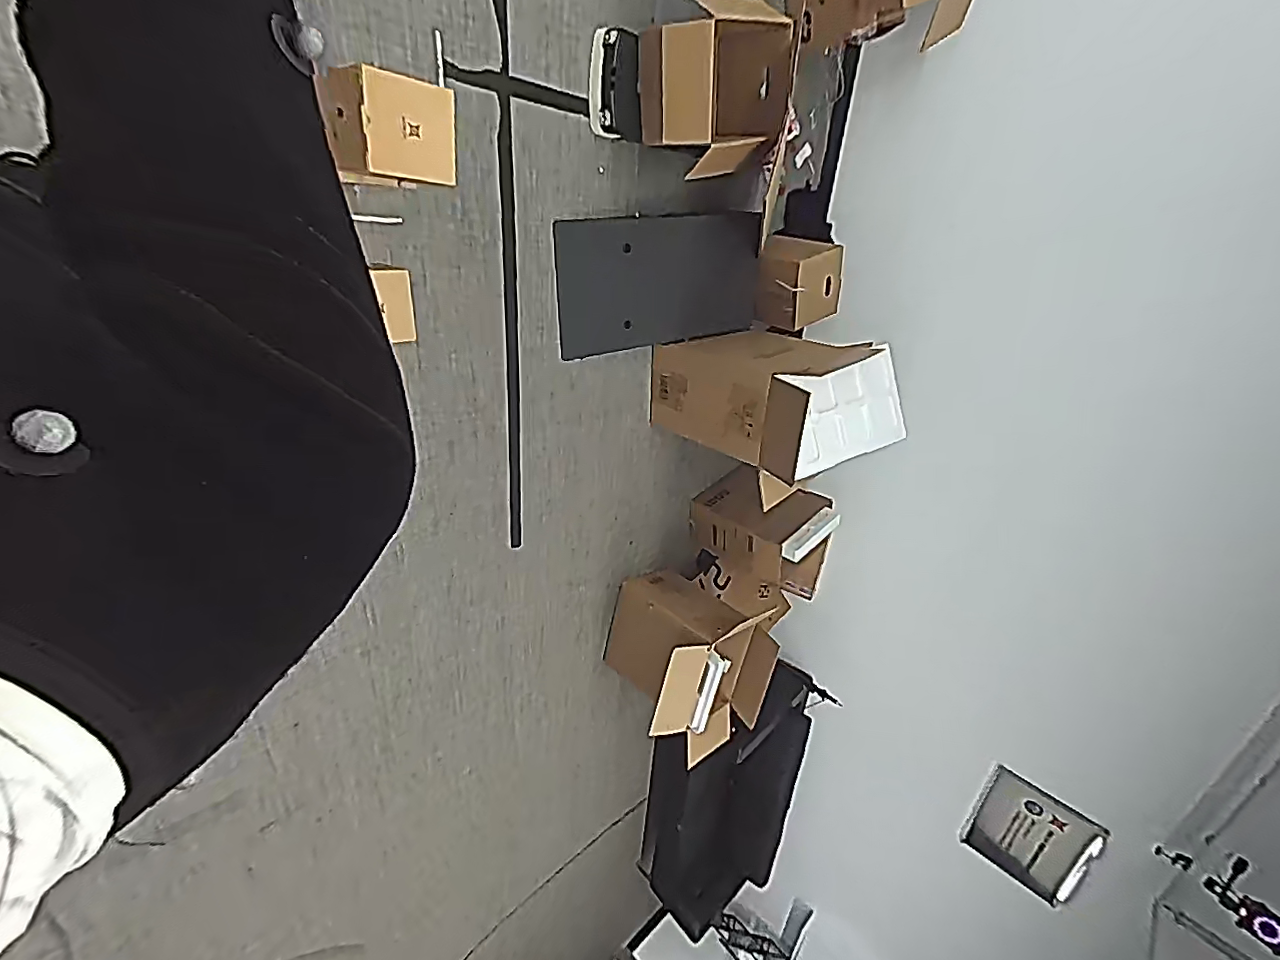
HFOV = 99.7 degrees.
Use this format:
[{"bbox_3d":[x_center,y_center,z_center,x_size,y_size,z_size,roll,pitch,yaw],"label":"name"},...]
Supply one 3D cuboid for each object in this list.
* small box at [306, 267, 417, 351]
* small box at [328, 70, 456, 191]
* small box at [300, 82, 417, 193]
[{"bbox_3d":[-0.658,-0.411,1.283,0.179,0.176,0.168,-20,124,-41],"label":"small box"},{"bbox_3d":[-0.483,-0.677,1.061,0.179,0.176,0.168,-17,124,-42],"label":"small box"},{"bbox_3d":[-0.603,-0.724,1.160,0.168,0.176,0.179,-20,126,-42],"label":"small box"}]
